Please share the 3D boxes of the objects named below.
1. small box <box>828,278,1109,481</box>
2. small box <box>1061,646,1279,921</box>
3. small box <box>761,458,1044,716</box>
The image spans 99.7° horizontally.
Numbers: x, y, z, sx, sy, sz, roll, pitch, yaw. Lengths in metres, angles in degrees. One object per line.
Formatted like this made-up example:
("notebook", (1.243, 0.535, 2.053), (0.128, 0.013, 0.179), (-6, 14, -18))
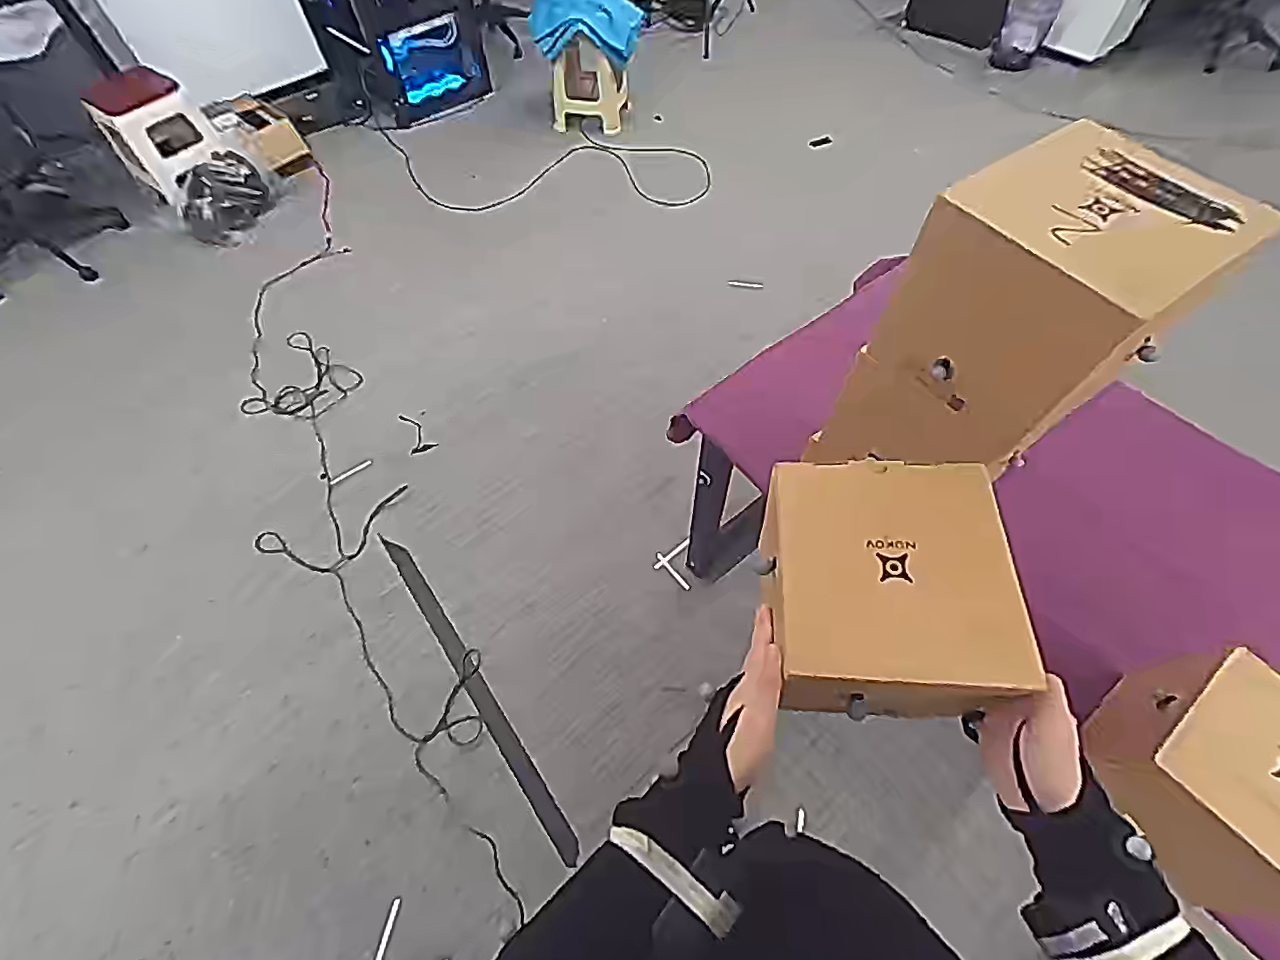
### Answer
("small box", (0.341, -0.081, 0.602), (0.179, 0.176, 0.168), (-32, 64, -15))
("small box", (0.594, 0.306, 0.556), (0.179, 0.176, 0.168), (-35, 63, -16))
("small box", (0.196, 0.099, 0.467), (0.168, 0.176, 0.179), (0, 59, 8))
